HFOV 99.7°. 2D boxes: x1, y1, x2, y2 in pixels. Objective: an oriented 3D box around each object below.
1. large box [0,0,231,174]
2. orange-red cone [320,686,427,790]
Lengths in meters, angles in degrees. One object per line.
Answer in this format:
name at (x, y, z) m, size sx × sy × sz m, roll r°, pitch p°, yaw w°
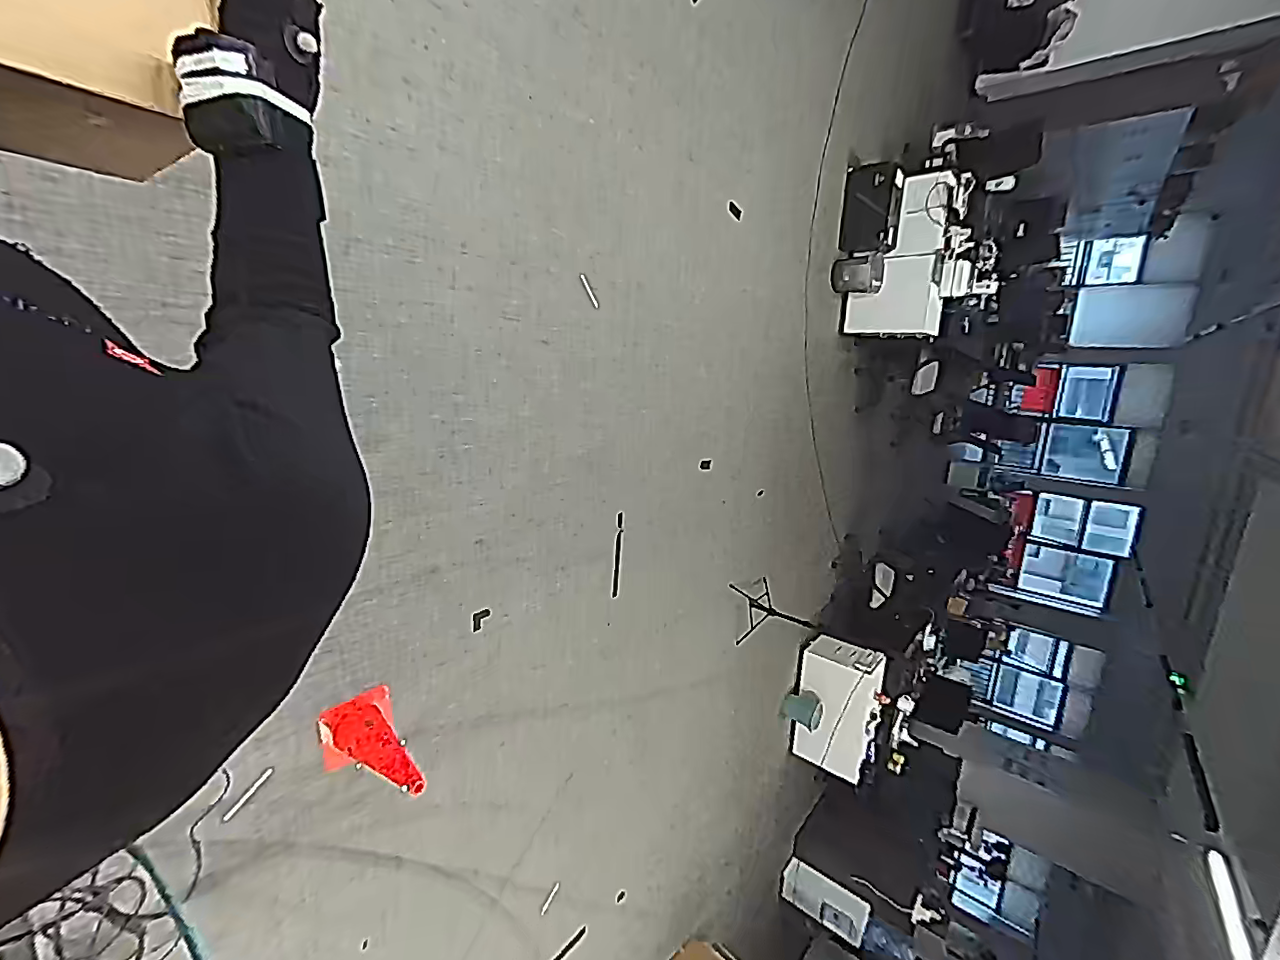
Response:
large box at (-0.540, -0.422, 0.314) m, size 0.408 × 0.320 × 0.320 m, roll -11°, pitch 111°, yaw -51°
orange-red cone at (-0.710, 0.760, 1.508) m, size 0.198 × 0.360 × 0.199 m, roll -16°, pitch 110°, yaw -50°
